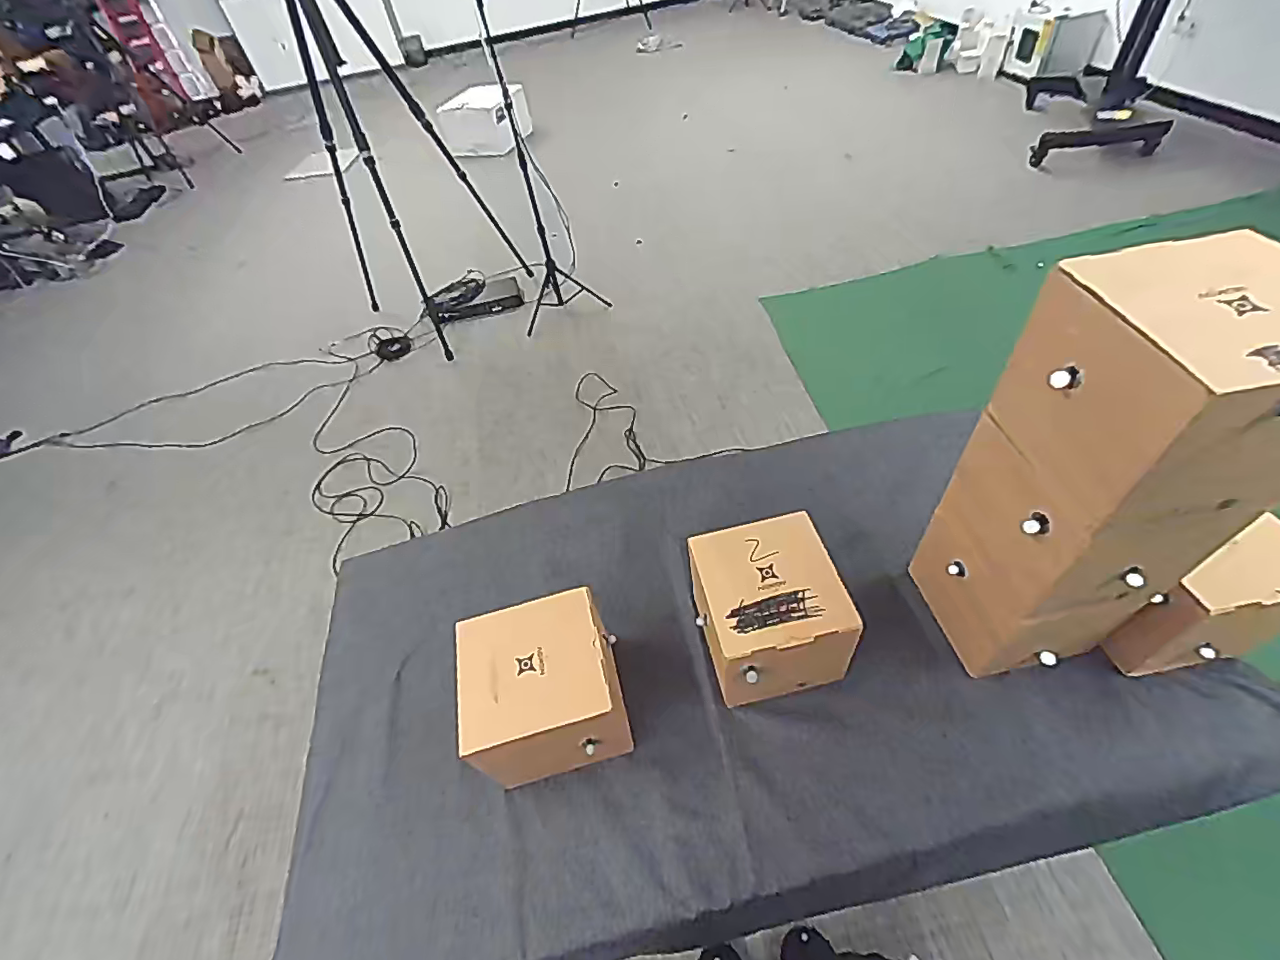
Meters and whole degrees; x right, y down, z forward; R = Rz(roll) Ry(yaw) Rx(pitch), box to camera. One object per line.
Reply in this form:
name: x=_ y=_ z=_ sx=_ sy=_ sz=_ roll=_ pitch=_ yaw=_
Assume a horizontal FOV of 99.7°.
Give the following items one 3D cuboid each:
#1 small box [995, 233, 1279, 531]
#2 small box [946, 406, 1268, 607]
small box: x=0.452 y=-0.082 z=0.465 sx=0.168 sy=0.176 sz=0.179 roll=-10 pitch=48 yaw=2
small box: x=0.475 y=0.023 z=0.590 sx=0.168 sy=0.176 sz=0.179 roll=-11 pitch=49 yaw=0
